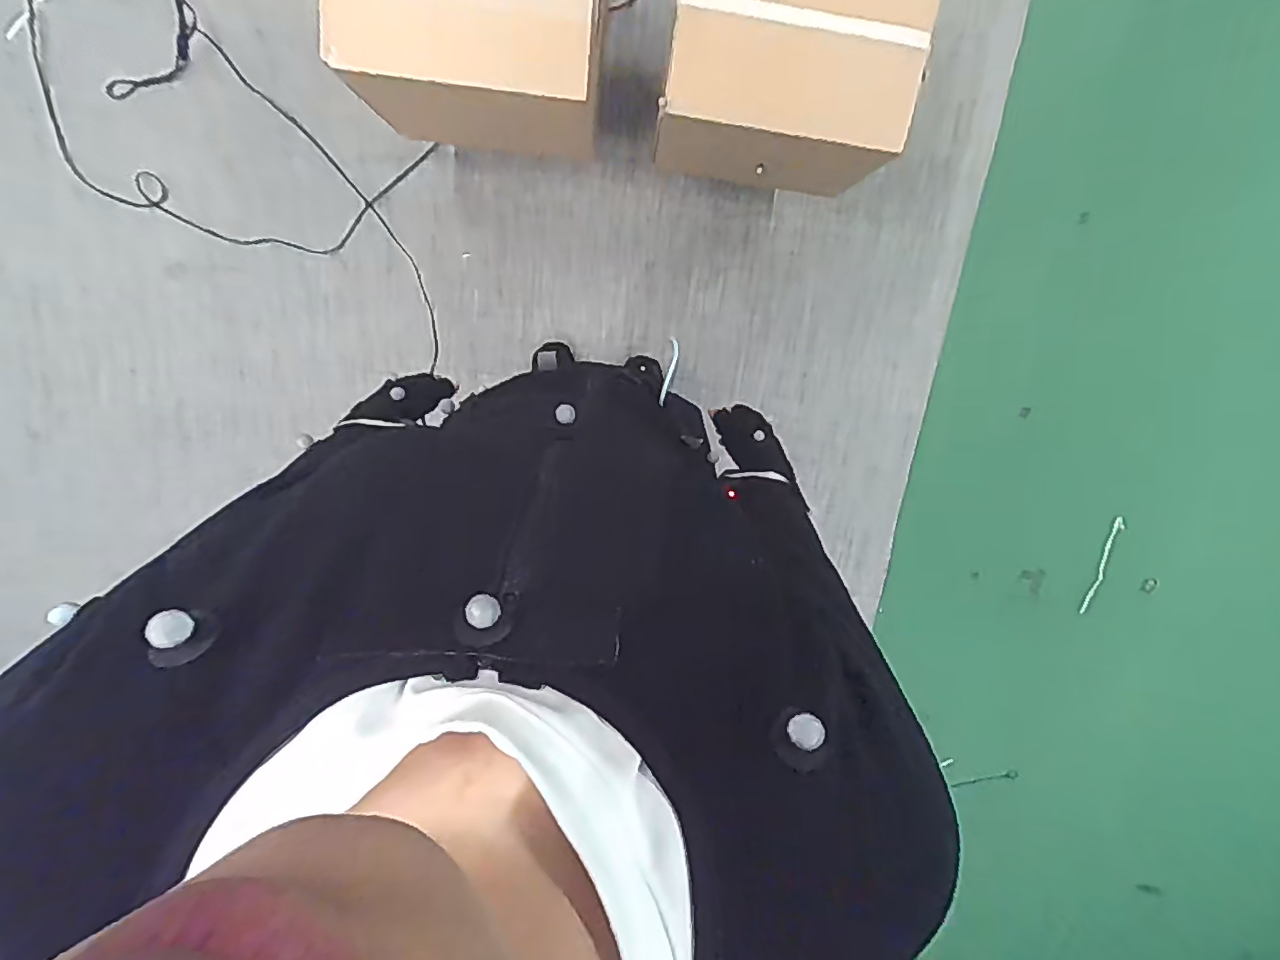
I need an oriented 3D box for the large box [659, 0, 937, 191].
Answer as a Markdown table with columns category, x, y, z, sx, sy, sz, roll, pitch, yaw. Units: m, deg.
| category | x | y | z | sx | sy | sz | roll | pitch | yaw |
| --- | --- | --- | --- | --- | --- | --- | --- | --- | --- |
| large box | 0.261 | -0.760 | 1.000 | 0.408 | 0.320 | 0.320 | 8 | 105 | -4 |
